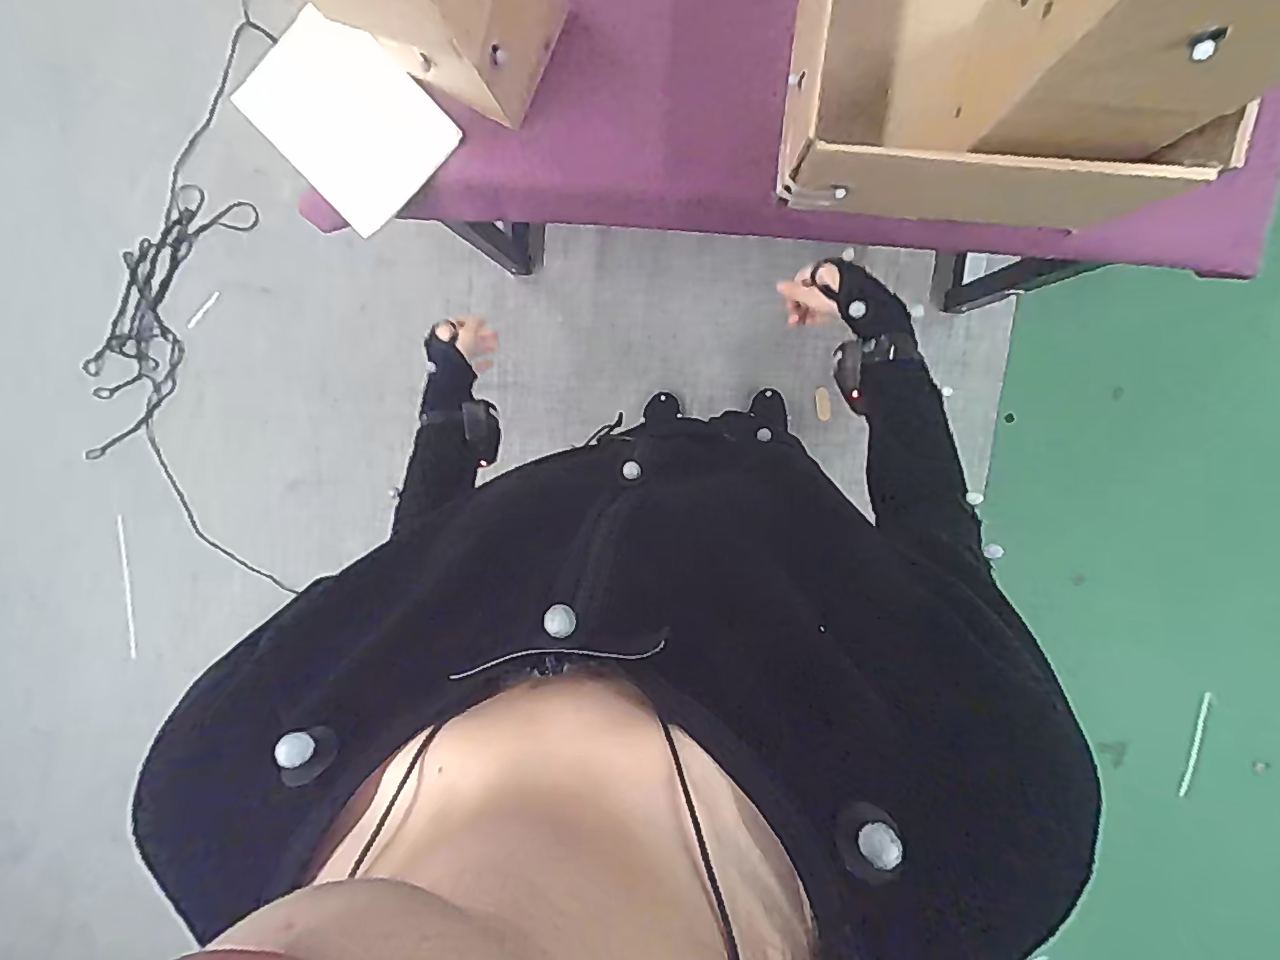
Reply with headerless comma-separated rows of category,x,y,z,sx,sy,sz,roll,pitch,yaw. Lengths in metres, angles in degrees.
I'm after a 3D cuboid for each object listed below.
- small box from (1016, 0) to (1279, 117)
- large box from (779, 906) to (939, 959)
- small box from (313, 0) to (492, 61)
small box,0.421,-0.391,0.386,0.179,0.176,0.168,9,98,6
large box,0.634,1.466,1.498,0.408,0.320,0.320,-9,97,5
small box,-0.228,-0.519,0.477,0.179,0.176,0.168,19,99,3
